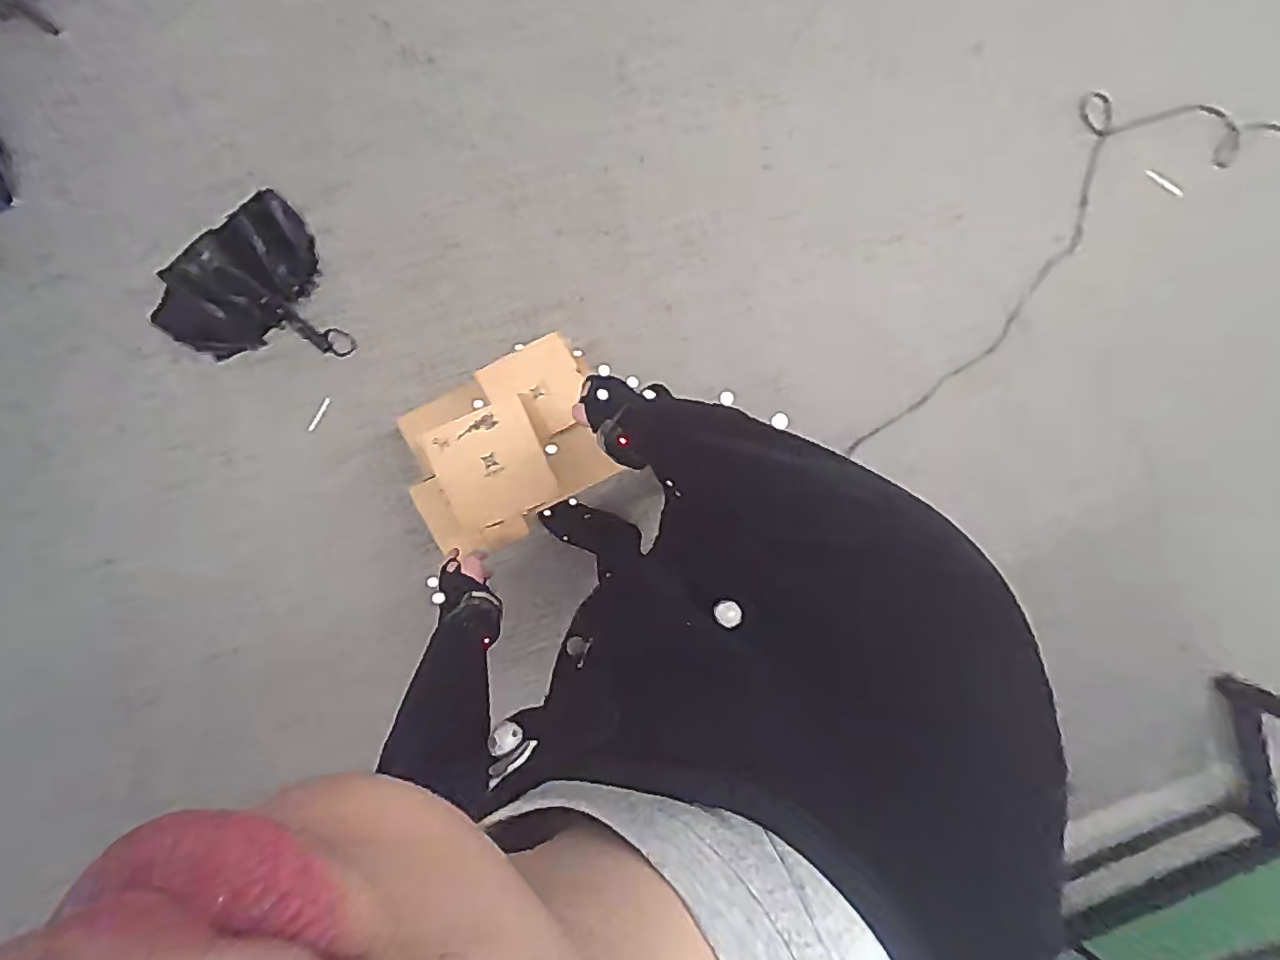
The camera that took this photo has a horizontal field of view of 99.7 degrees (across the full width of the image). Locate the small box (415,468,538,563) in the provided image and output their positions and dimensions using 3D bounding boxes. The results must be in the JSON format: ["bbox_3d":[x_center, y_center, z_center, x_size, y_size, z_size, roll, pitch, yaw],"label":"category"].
[{"bbox_3d":[-0.318,0.036,1.086,0.168,0.176,0.179,-24,102,-2],"label":"small box"}]

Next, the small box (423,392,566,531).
[{"bbox_3d":[-0.231,-0.041,0.915,0.168,0.176,0.179,-22,102,-1],"label":"small box"}]

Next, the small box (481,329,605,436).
[{"bbox_3d":[-0.183,-0.175,1.069,0.179,0.176,0.168,-28,97,0],"label":"small box"}]
